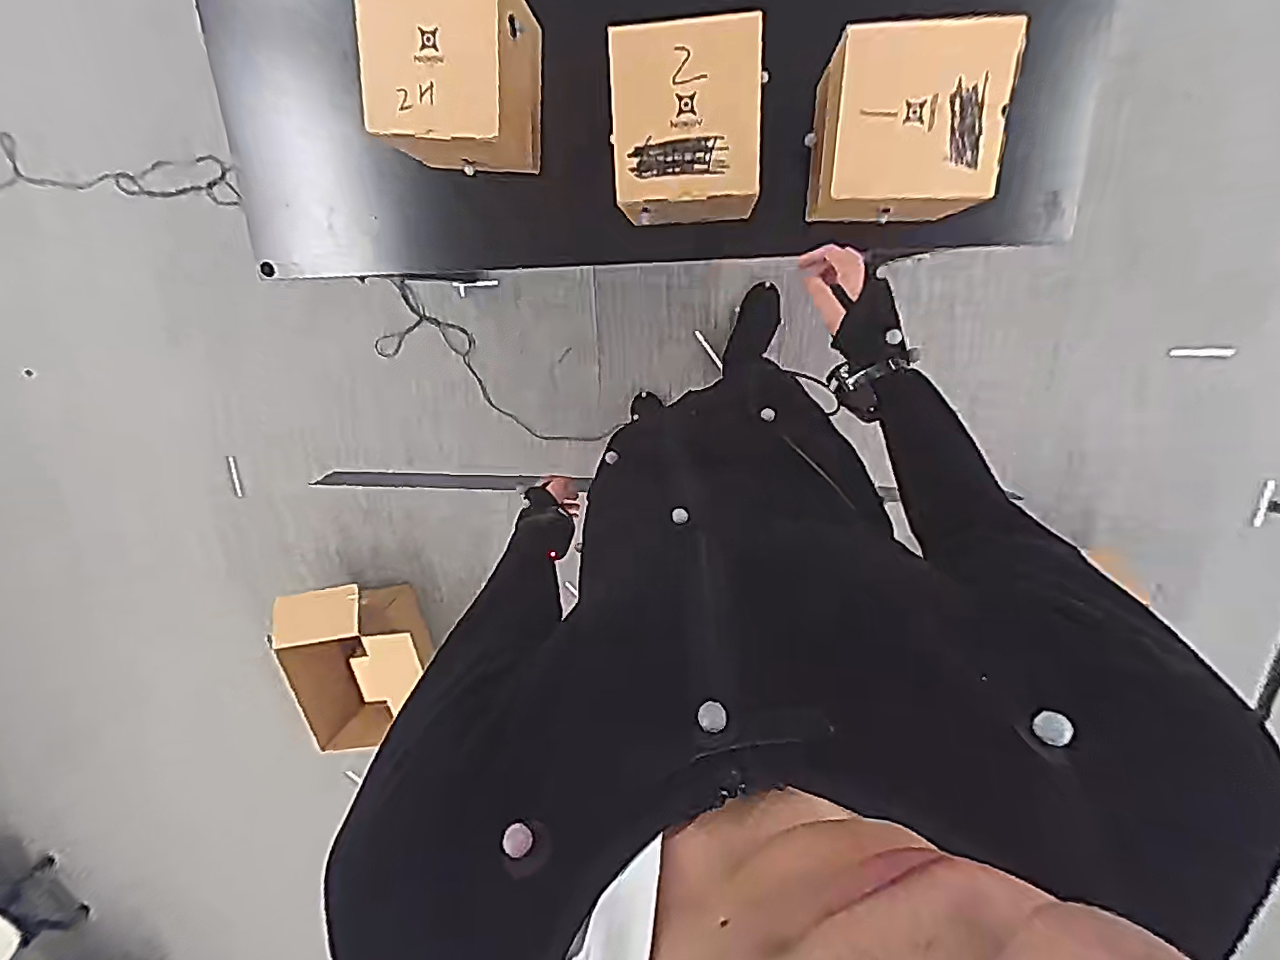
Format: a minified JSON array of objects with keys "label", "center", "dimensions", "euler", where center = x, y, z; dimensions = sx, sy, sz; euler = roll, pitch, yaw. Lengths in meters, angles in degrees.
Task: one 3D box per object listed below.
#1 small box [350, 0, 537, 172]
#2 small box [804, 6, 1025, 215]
[{"label":"small box","center":[-0.232,-0.506,0.674],"dimensions":[0.168,0.176,0.179],"euler":[5,109,5]},{"label":"small box","center":[0.304,-0.419,0.642],"dimensions":[0.179,0.176,0.168],"euler":[2,108,7]}]
